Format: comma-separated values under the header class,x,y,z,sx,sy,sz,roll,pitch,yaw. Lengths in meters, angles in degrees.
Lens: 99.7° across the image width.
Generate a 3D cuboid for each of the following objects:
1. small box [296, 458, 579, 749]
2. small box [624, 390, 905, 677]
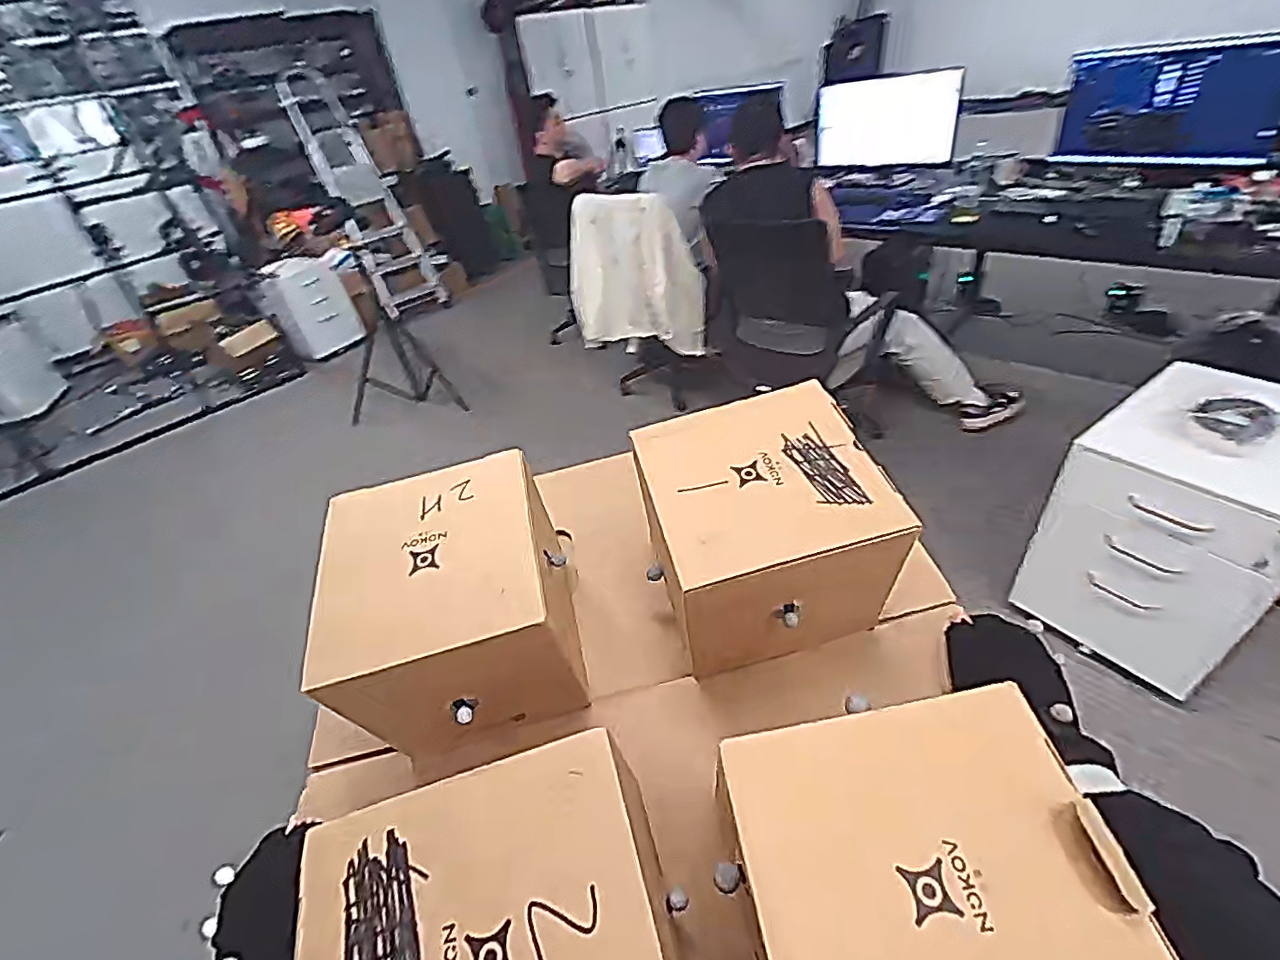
class,x,y,z,sx,sy,sz,roll,pitch,yaw
small box,-0.158,0.114,0.473,0.168,0.176,0.179,-15,49,-5
small box,0.095,0.052,0.484,0.179,0.176,0.168,-16,49,-3
